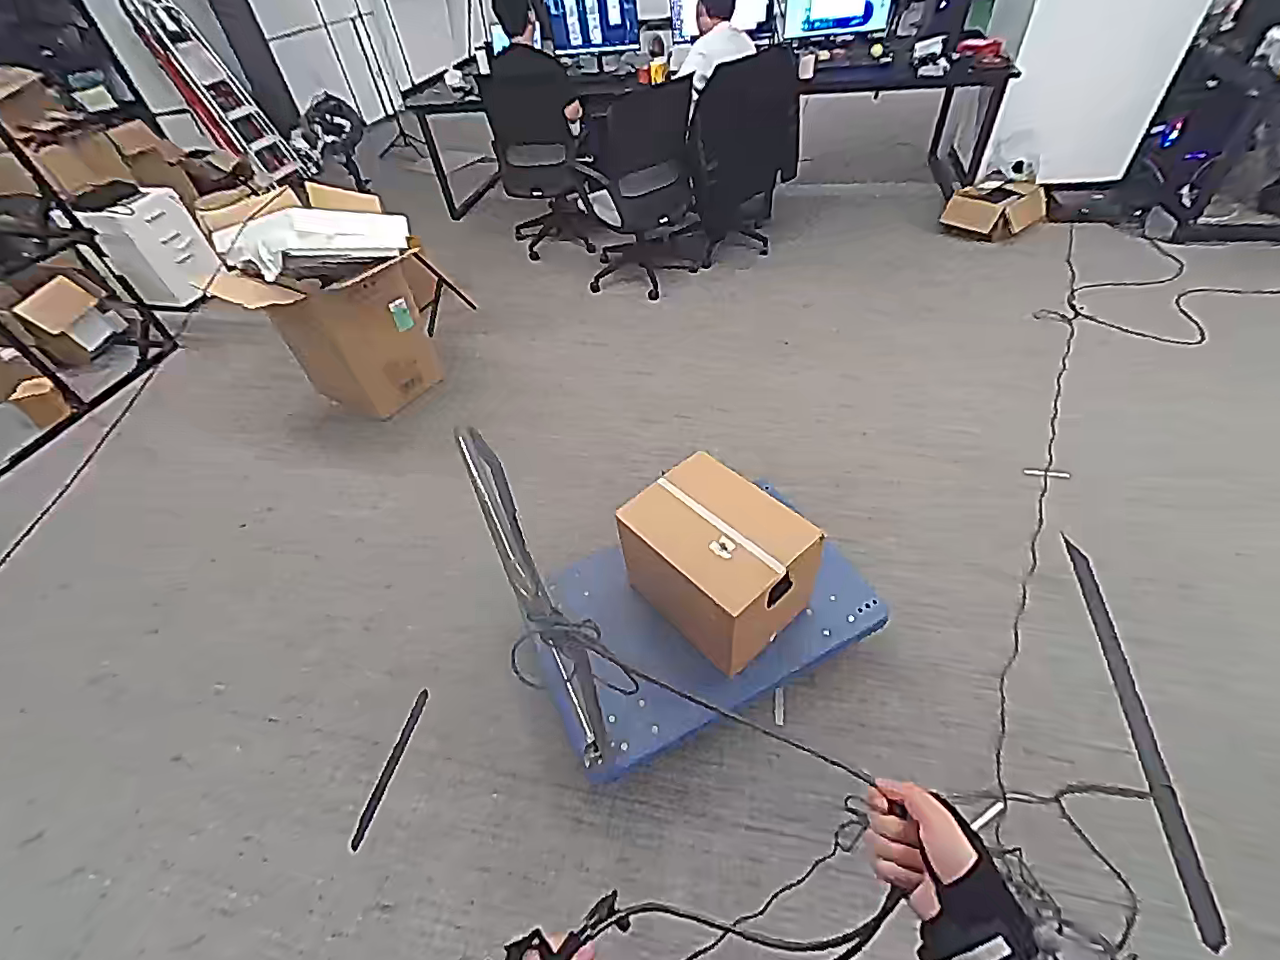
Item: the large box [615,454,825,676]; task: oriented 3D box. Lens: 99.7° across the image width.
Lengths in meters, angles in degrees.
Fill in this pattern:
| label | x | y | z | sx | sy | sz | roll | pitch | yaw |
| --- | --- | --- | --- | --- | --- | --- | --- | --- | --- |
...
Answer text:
| label | x | y | z | sx | sy | sz | roll | pitch | yaw |
| --- | --- | --- | --- | --- | --- | --- | --- | --- | --- |
| large box | 0.191 | 0.208 | 1.386 | 0.320 | 0.320 | 0.408 | -36 | 54 | -23 |
